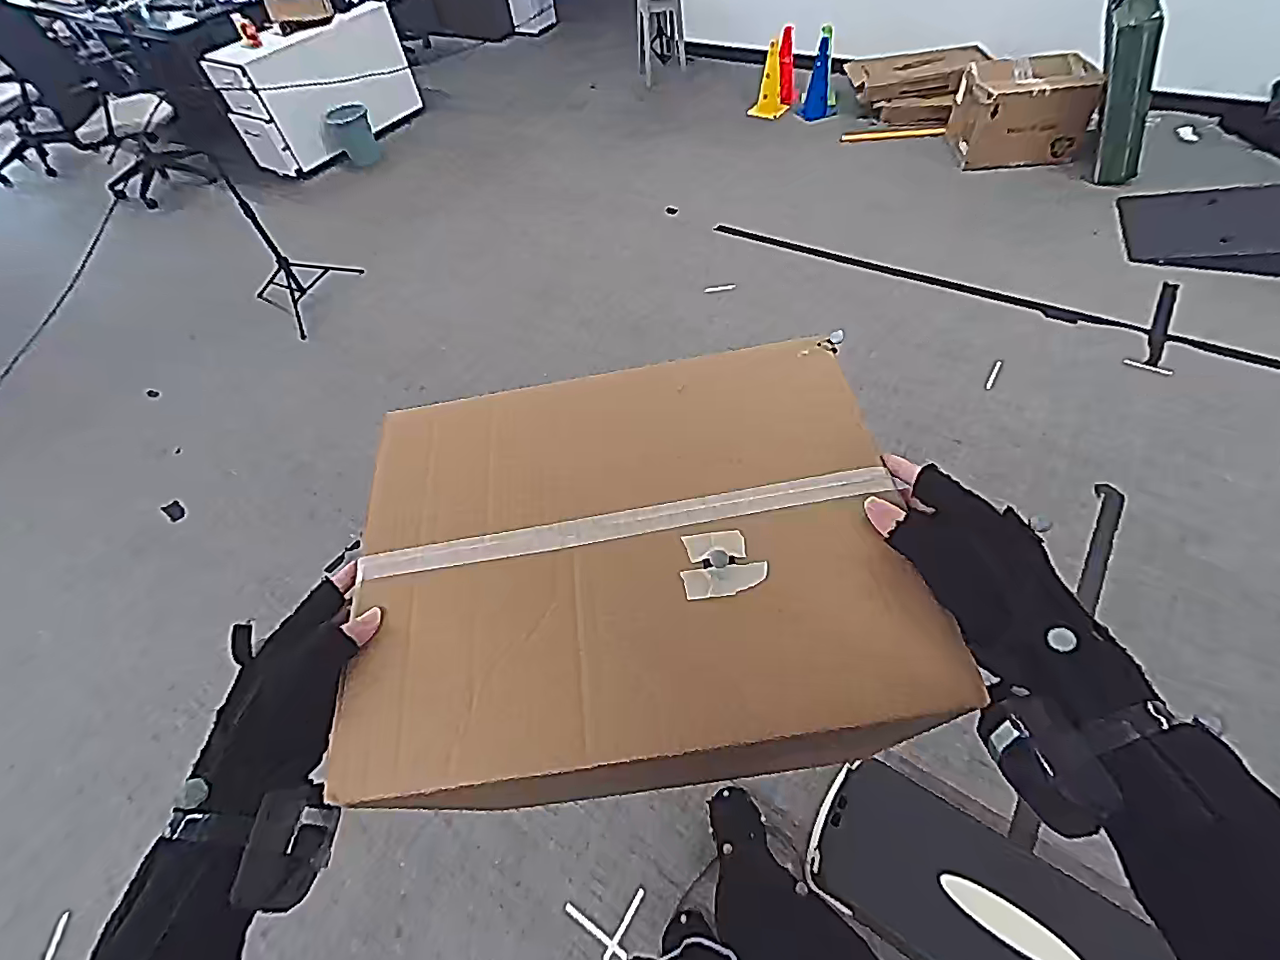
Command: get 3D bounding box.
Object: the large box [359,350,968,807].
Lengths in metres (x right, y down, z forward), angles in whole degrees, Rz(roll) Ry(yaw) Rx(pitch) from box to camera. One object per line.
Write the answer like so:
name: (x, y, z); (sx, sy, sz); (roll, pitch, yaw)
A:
large box: (0.009, 0.119, 0.547); (0.408, 0.320, 0.320); (-10, 58, 2)
